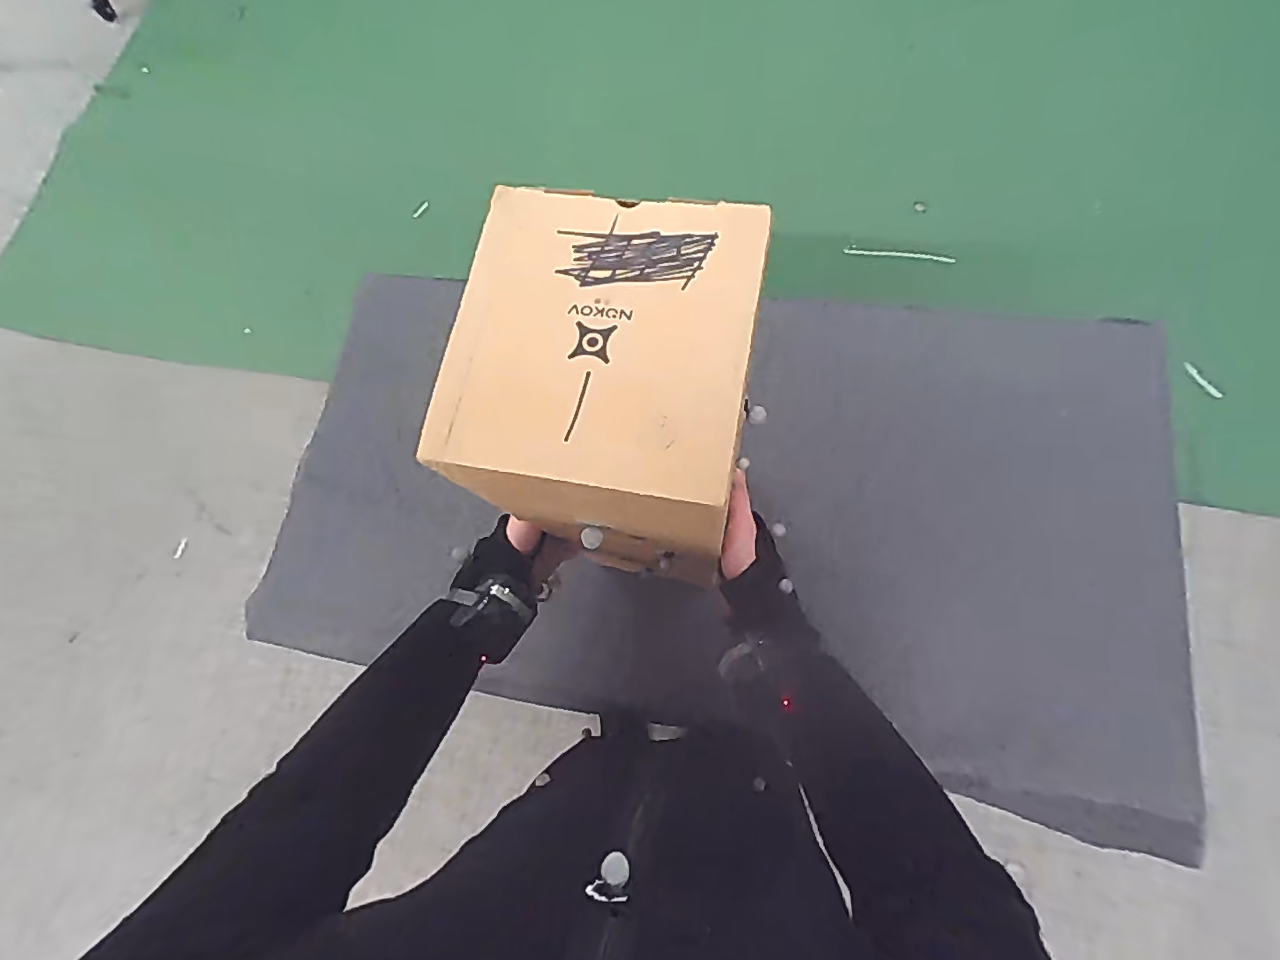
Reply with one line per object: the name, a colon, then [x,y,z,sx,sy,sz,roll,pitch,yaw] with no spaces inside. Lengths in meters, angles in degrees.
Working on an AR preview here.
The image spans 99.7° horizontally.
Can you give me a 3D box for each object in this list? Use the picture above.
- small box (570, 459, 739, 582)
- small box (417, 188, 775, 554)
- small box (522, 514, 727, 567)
small box: [0.030,0.025,0.678,0.168,0.176,0.179,10,76,11]
small box: [-0.012,-0.057,0.364,0.168,0.176,0.179,9,77,10]
small box: [0.007,-0.019,0.523,0.168,0.176,0.179,8,75,9]
